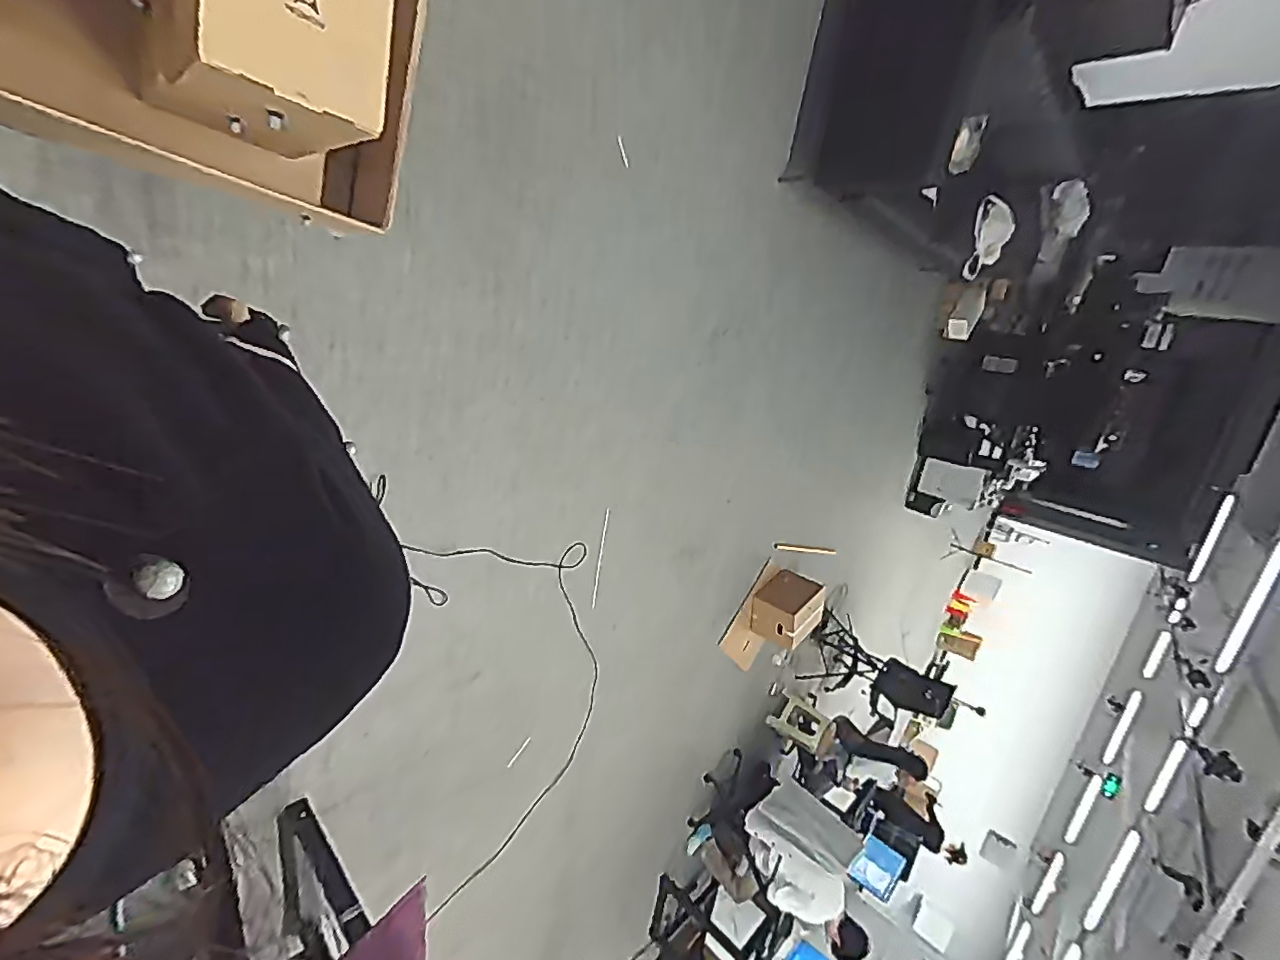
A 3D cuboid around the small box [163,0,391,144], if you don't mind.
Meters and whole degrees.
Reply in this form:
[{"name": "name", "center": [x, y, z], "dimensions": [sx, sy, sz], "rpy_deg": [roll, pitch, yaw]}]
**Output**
[{"name": "small box", "center": [-0.395, -0.491, 0.587], "dimensions": [0.168, 0.176, 0.179], "rpy_deg": [-2, 110, -49]}]
